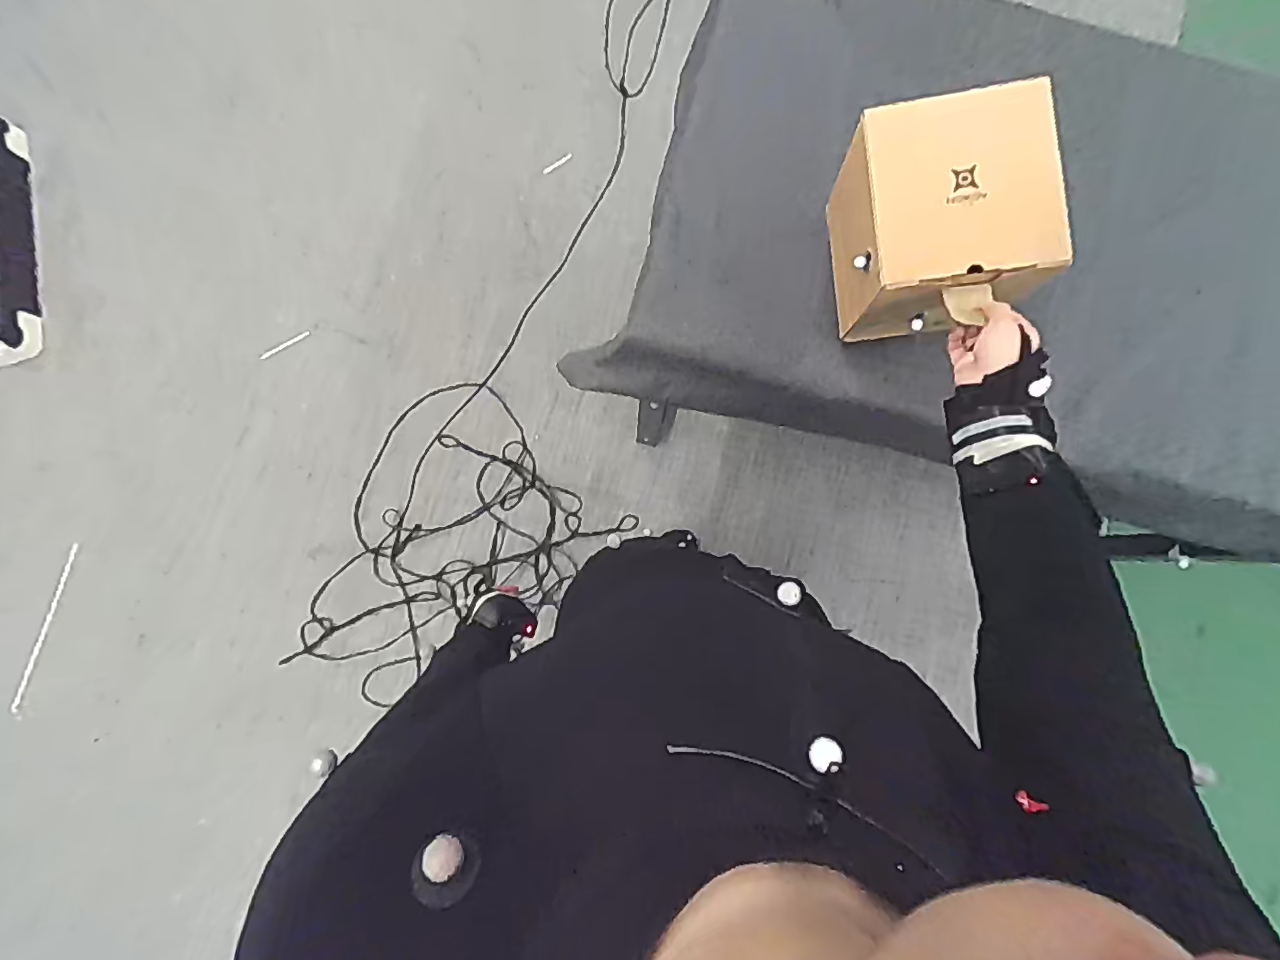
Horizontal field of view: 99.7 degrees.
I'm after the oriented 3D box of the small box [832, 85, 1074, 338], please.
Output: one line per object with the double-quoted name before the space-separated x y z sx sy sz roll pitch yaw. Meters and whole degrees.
"small box" 0.316 -0.271 0.584 0.168 0.176 0.179 -6 87 6
